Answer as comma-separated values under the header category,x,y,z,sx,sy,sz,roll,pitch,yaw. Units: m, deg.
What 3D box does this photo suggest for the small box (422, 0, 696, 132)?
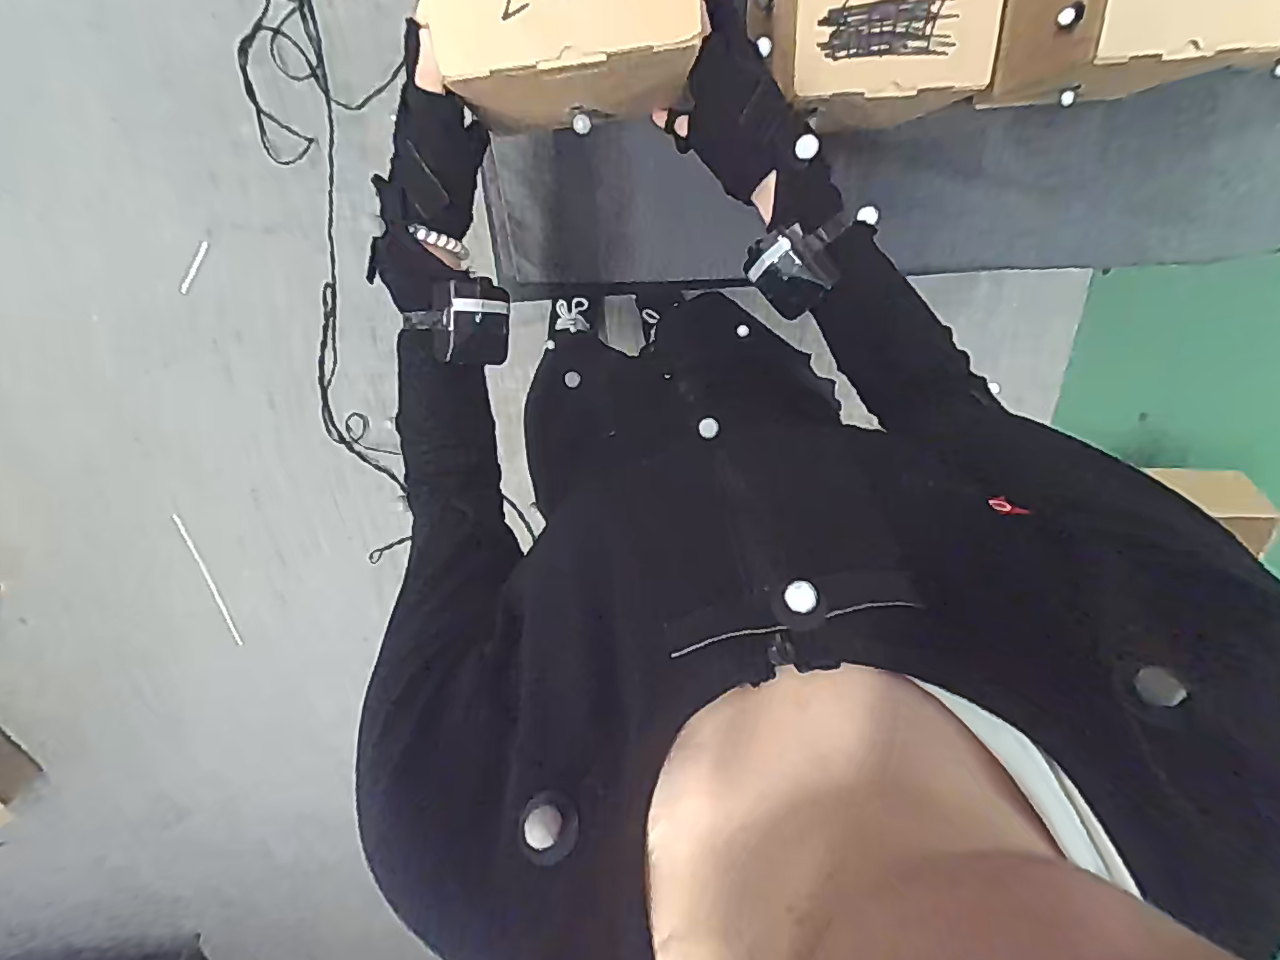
category,x,y,z,sx,sy,sz,roll,pitch,yaw
small box,-0.058,-0.373,0.378,0.168,0.176,0.179,-7,111,1

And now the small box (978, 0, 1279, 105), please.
category,x,y,z,sx,sy,sz,roll,pitch,yaw
small box,0.442,-0.465,0.487,0.168,0.176,0.179,-6,115,-2
